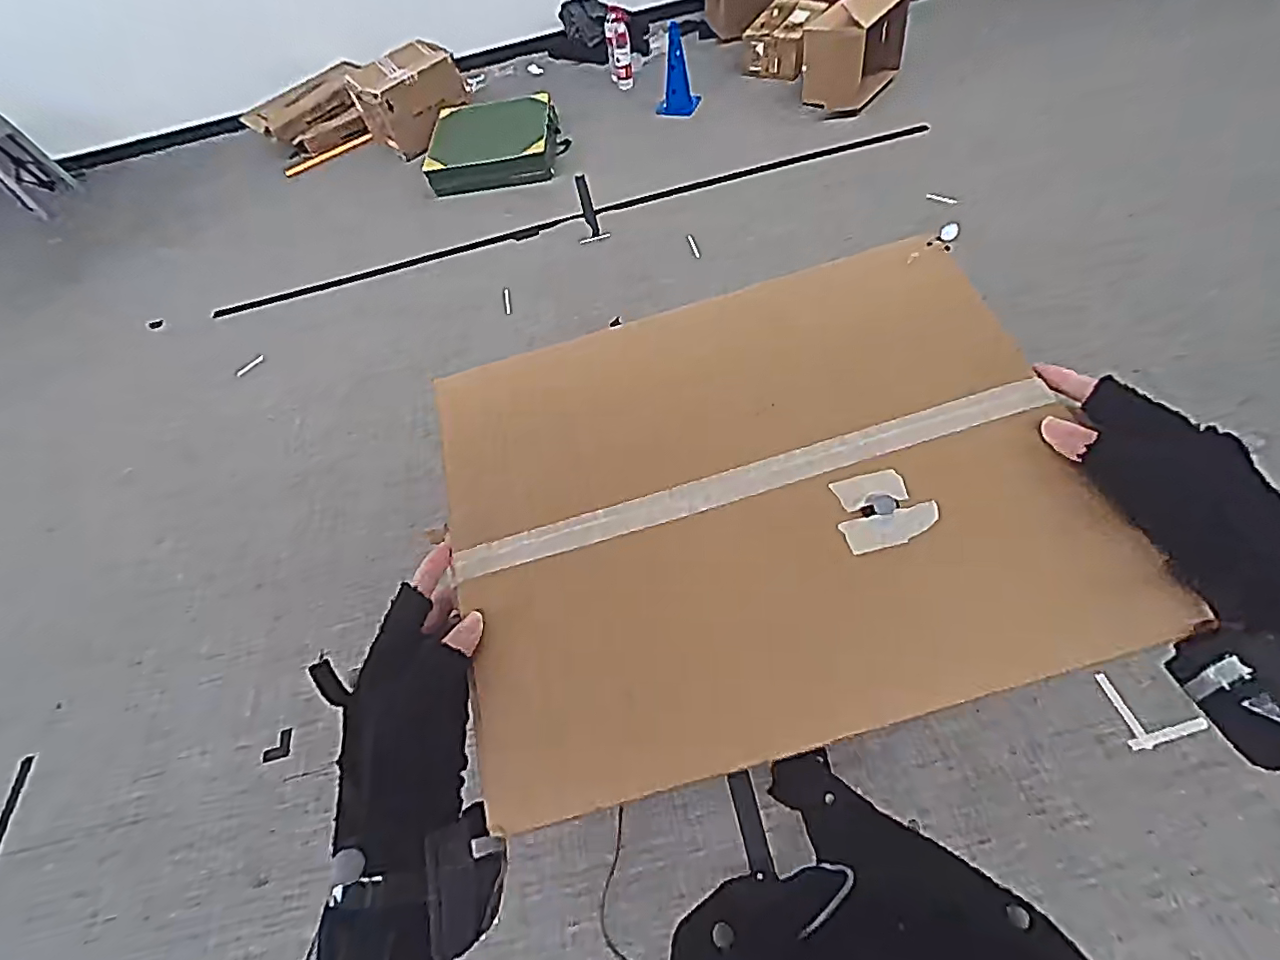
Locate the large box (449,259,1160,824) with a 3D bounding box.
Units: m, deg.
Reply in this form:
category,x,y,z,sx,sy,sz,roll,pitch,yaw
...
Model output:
category,x,y,z,sx,sy,sz,roll,pitch,yaw
large box,0.090,0.070,0.507,0.408,0.320,0.320,-17,65,-1
